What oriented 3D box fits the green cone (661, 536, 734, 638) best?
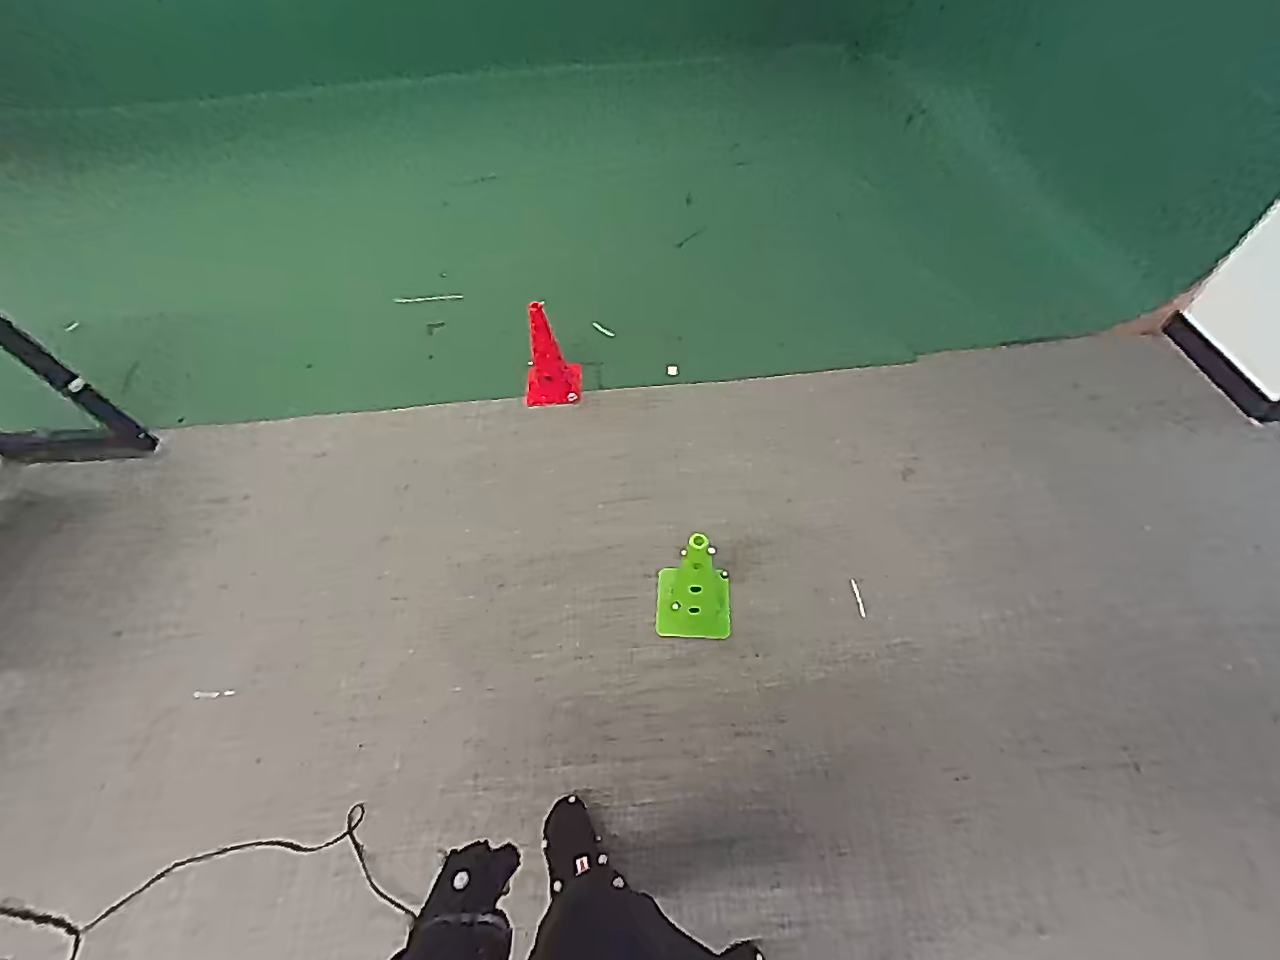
[{"bbox_3d":[0.149,0.244,1.374,0.200,0.368,0.202,0,55,5],"label":"green cone"}]
